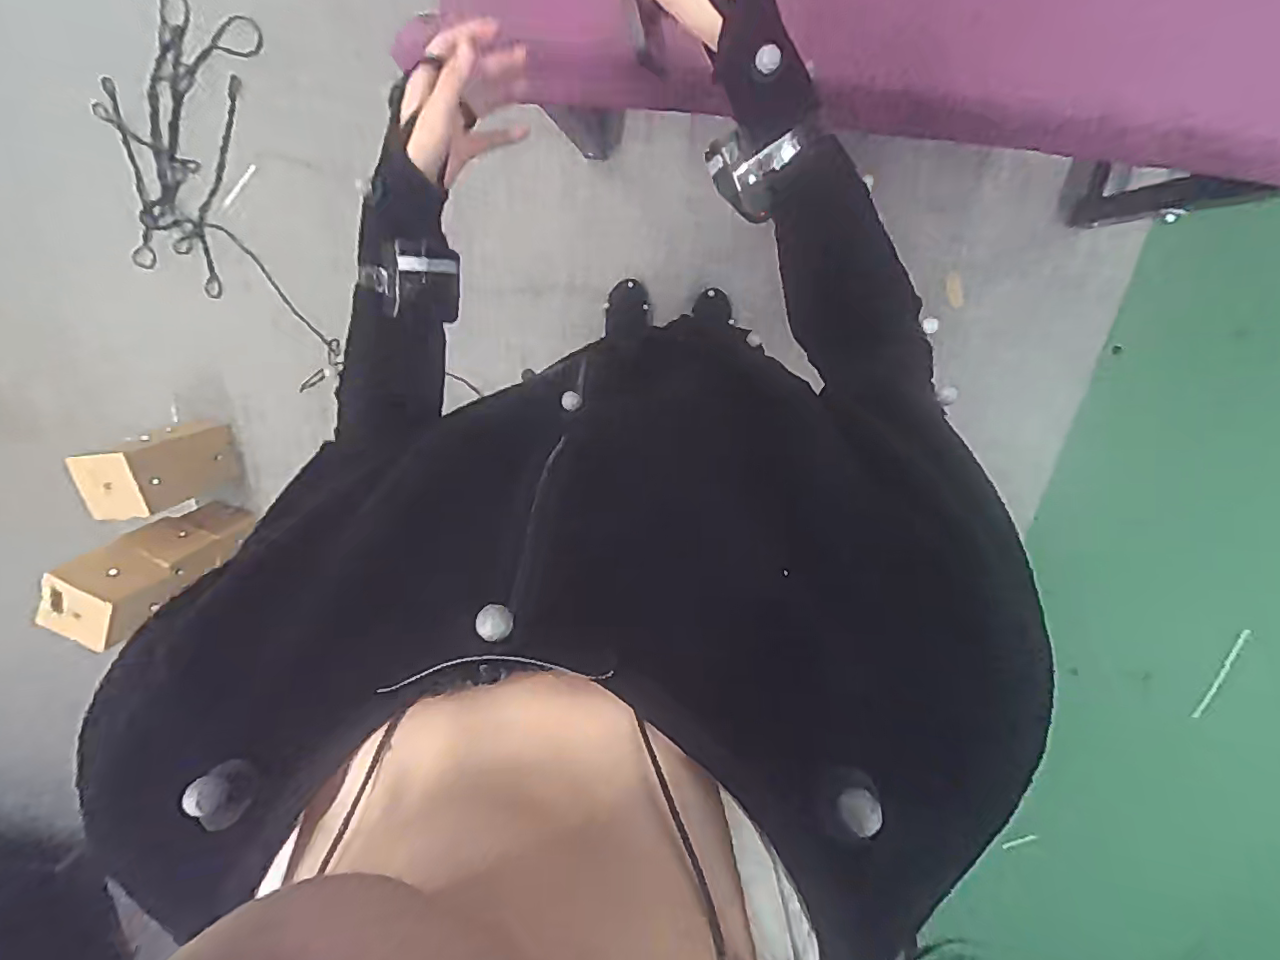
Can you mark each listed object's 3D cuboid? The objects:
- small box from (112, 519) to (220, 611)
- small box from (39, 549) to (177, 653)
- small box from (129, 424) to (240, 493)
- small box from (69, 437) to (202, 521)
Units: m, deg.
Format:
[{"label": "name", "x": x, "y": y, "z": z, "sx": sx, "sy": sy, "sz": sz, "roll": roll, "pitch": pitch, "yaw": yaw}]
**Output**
[{"label": "small box", "x": -1.338, "y": 0.241, "z": 1.530, "sx": 0.168, "sy": 0.176, "sz": 0.179, "roll": 24, "pitch": 109, "yaw": -2}, {"label": "small box", "x": -1.348, "y": 0.298, "z": 1.376, "sx": 0.179, "sy": 0.176, "sz": 0.168, "roll": 28, "pitch": 109, "yaw": -4}, {"label": "small box", "x": -1.322, "y": -0.067, "z": 1.590, "sx": 0.179, "sy": 0.176, "sz": 0.168, "roll": 1, "pitch": 109, "yaw": 6}, {"label": "small box", "x": -1.327, "y": -0.005, "z": 1.439, "sx": 0.168, "sy": 0.176, "sz": 0.179, "roll": -3, "pitch": 109, "yaw": 7}]
